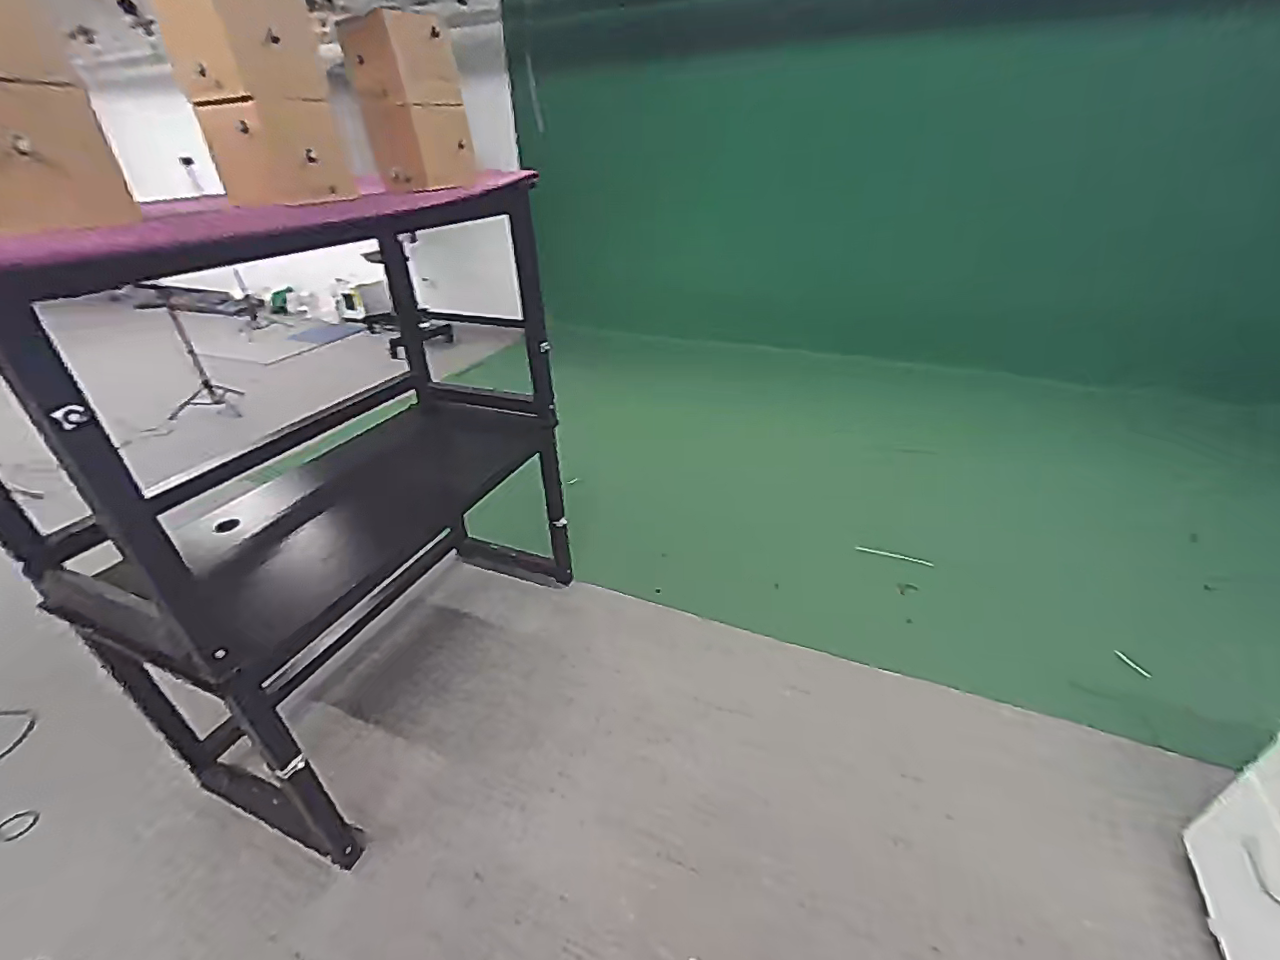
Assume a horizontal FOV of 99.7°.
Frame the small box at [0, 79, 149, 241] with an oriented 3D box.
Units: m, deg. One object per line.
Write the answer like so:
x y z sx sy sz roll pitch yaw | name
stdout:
-0.826 -0.420 0.716 0.168 0.176 0.179 9 34 15 | small box

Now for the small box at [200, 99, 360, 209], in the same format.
-0.684 -0.628 1.048 0.179 0.176 0.168 11 33 21 | small box

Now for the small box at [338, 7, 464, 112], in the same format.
-0.528 -0.930 1.219 0.168 0.176 0.179 14 36 29 | small box

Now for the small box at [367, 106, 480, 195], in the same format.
-0.510 -0.792 1.304 0.168 0.176 0.179 12 37 26 | small box

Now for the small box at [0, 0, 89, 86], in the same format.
-0.828 -0.561 0.630 0.168 0.176 0.179 8 32 14 | small box
